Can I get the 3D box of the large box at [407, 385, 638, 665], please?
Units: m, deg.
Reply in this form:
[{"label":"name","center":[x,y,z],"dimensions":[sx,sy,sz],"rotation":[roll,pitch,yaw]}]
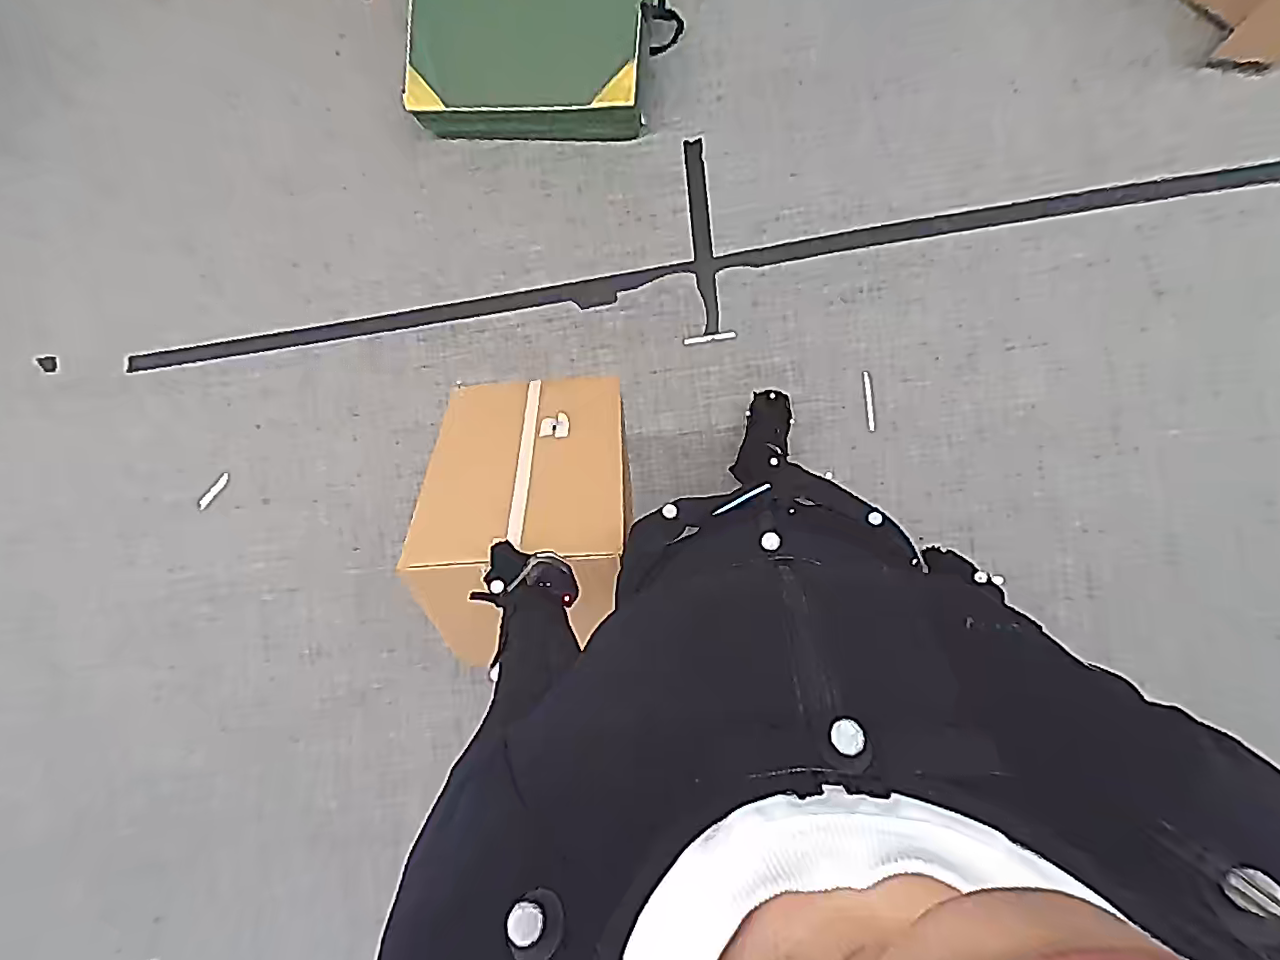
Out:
[{"label":"large box","center":[-0.176,0.076,0.995],"dimensions":[0.320,0.320,0.408],"rotation":[-4,46,1]}]
